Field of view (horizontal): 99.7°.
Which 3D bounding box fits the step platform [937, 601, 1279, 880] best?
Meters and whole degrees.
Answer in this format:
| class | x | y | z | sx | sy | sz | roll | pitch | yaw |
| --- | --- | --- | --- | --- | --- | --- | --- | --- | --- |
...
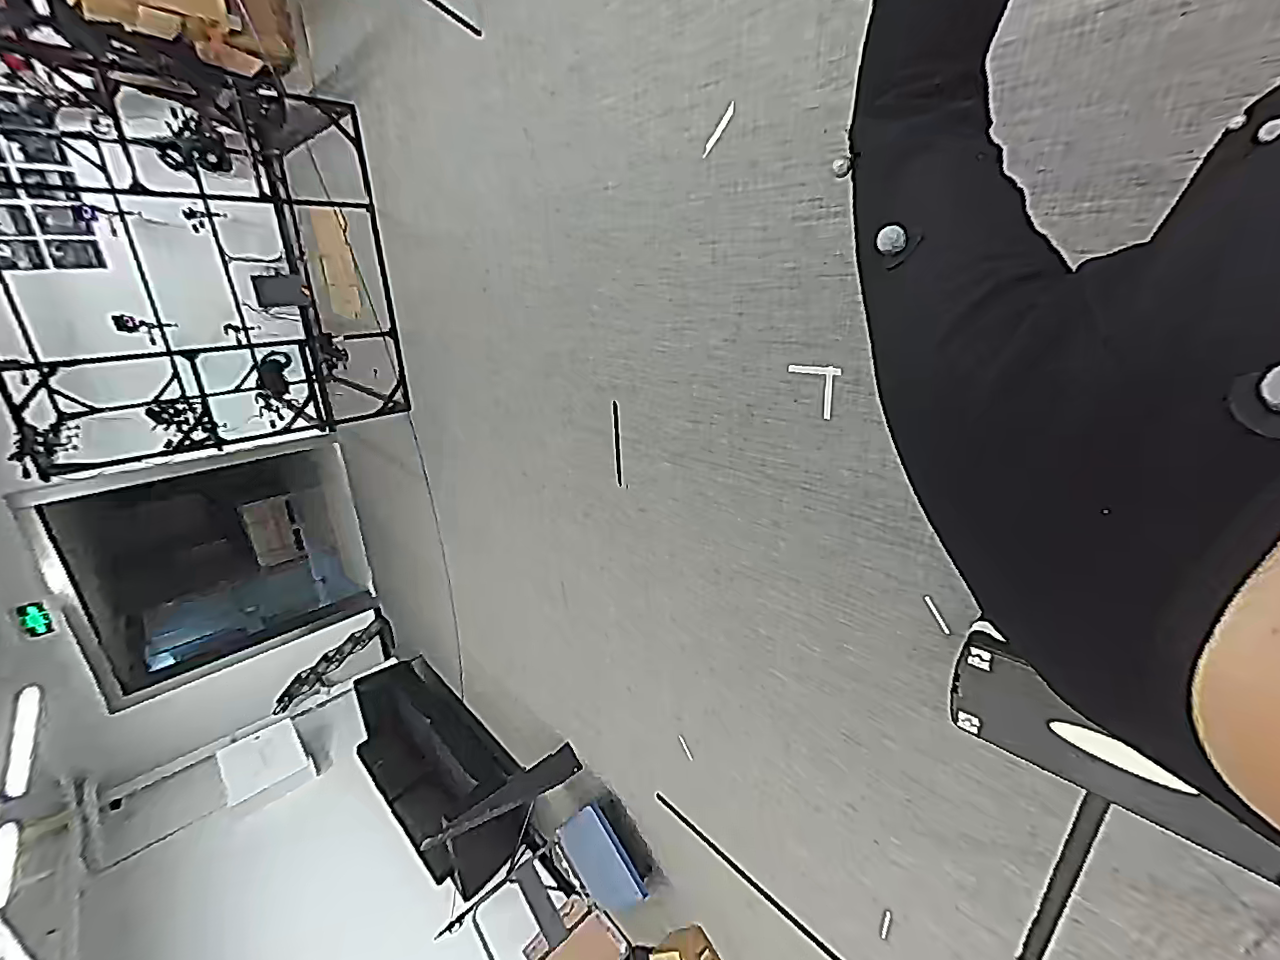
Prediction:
| class | x | y | z | sx | sy | sz | roll | pitch | yaw |
| --- | --- | --- | --- | --- | --- | --- | --- | --- | --- |
| step platform | 1.066 | 0.542 | 1.230 | 0.684 | 0.204 | 0.286 | 18 | 119 | 45 |
